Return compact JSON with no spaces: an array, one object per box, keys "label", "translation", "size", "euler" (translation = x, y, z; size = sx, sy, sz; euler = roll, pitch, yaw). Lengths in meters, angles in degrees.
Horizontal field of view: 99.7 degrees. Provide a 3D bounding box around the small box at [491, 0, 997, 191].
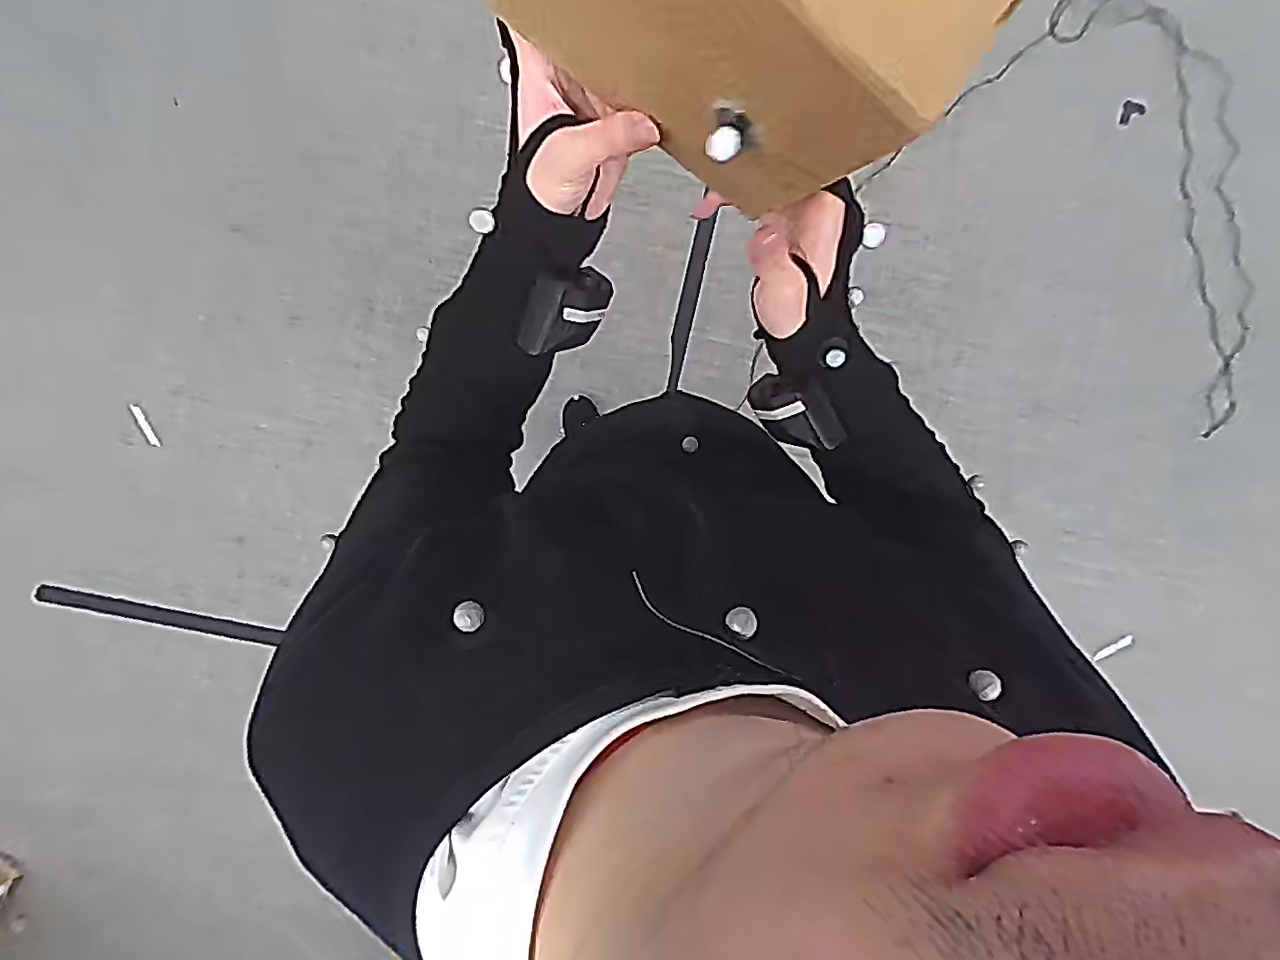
[{"label":"small box","translation":[0.045,-0.241,0.207],"size":[0.179,0.176,0.168],"euler":[29,101,-14]}]
